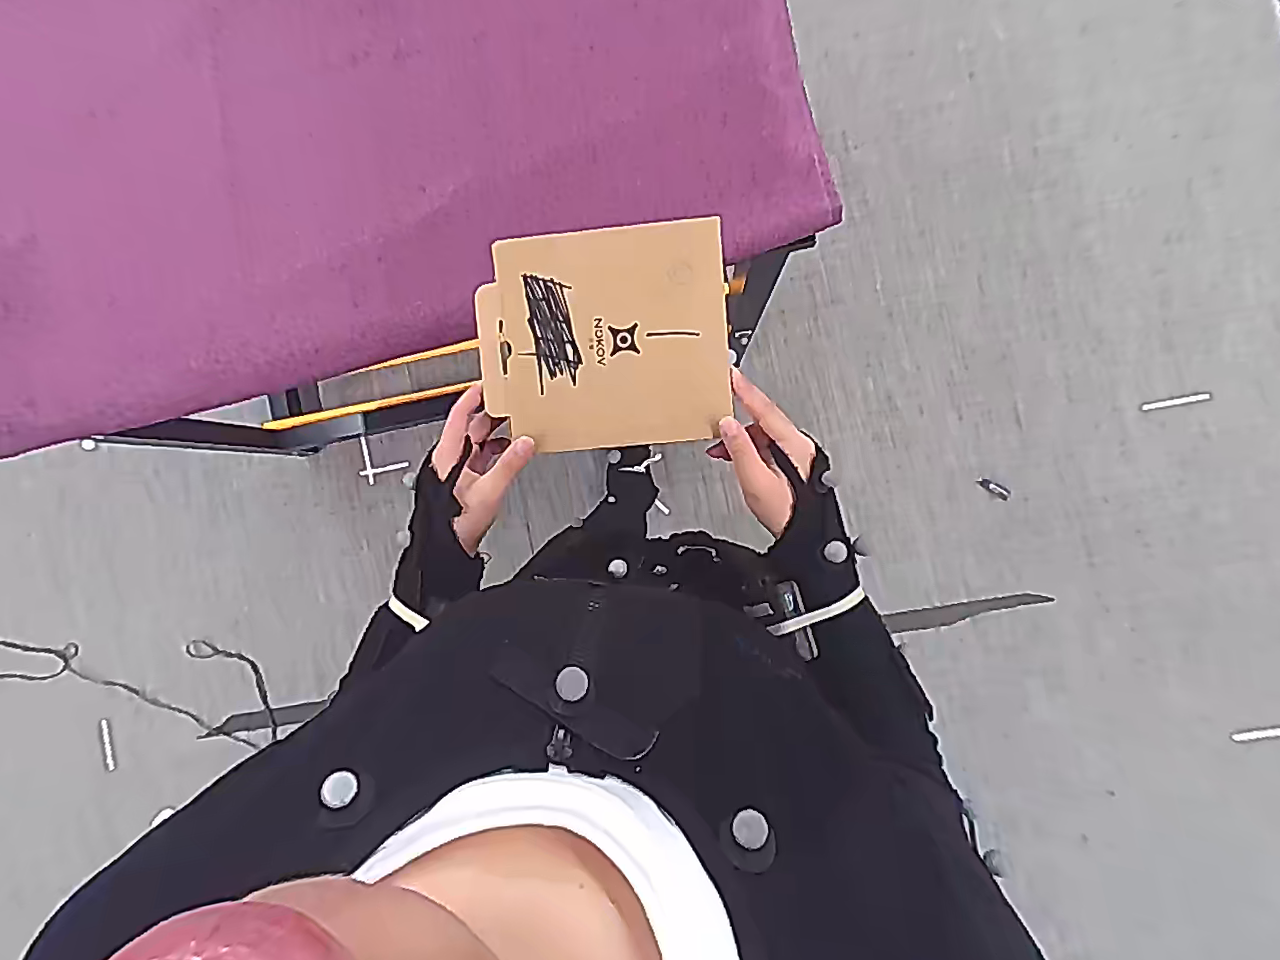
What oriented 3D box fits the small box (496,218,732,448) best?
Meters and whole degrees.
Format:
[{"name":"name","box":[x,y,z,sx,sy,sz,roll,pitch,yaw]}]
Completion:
[{"name":"small box","box":[-0.014,-0.115,0.495,0.179,0.176,0.168,-4,95,4]}]
